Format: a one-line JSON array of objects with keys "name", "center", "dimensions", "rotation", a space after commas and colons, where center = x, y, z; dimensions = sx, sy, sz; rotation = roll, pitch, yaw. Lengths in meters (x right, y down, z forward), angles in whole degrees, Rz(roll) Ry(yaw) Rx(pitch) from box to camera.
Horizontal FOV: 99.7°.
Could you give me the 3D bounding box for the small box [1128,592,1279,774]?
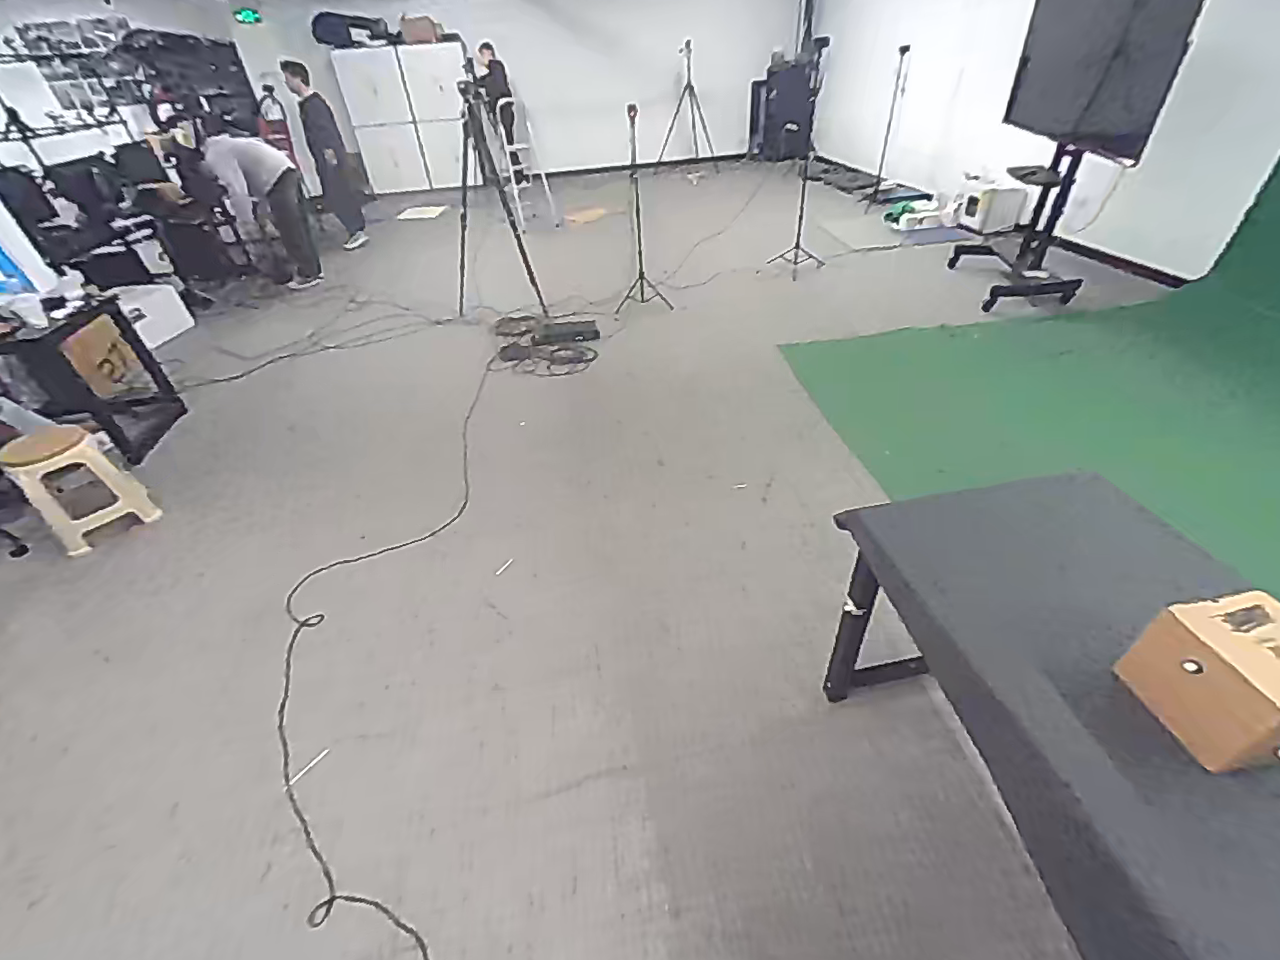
[{"name": "small box", "center": [0.886, 0.294, 0.789], "dimensions": [0.168, 0.176, 0.179], "rotation": [-9, 39, -4]}]
